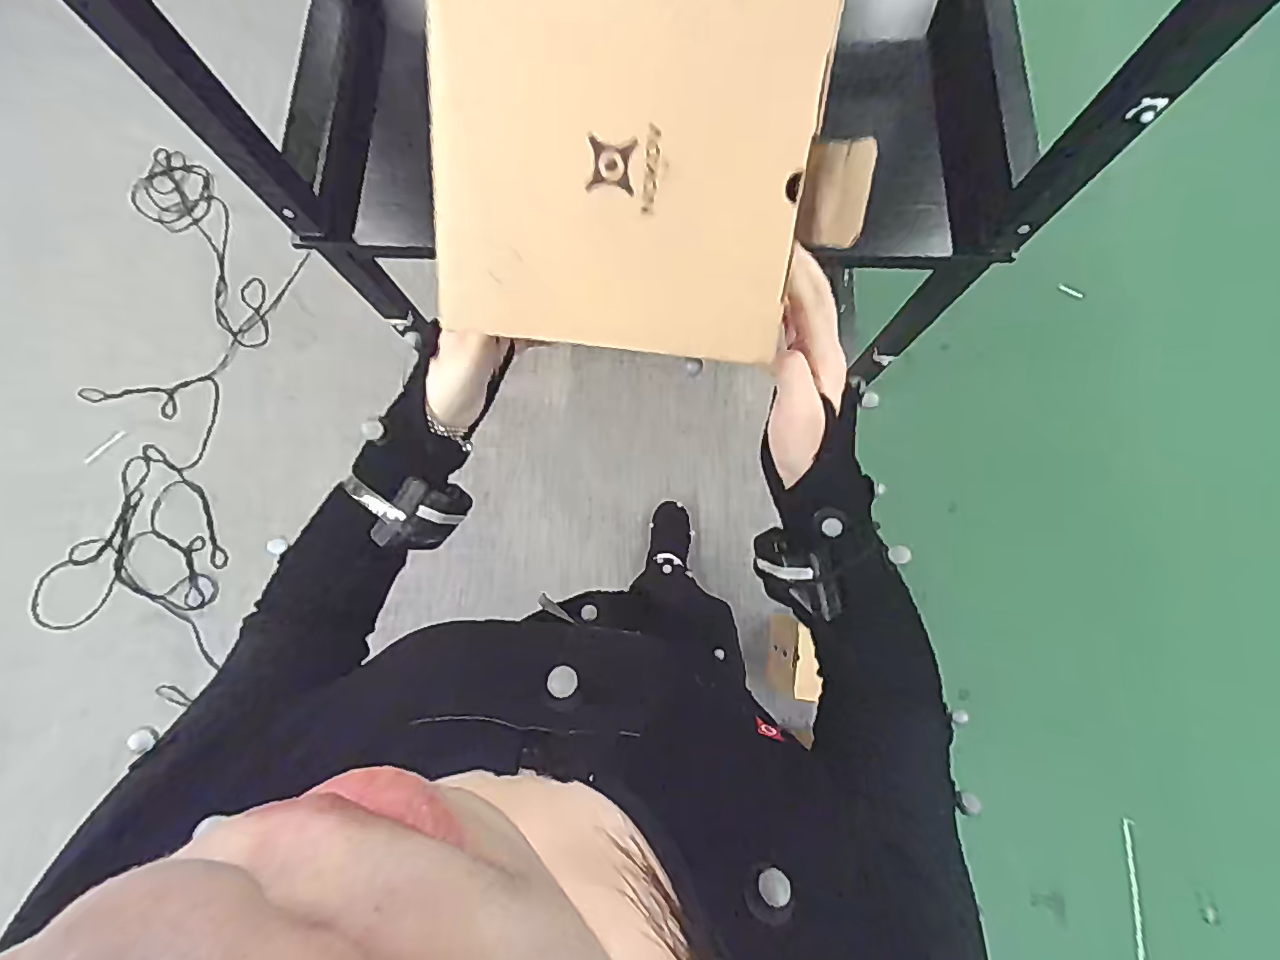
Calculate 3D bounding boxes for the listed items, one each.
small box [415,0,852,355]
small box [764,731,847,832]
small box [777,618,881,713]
[{"bbox_3d":[-0.006,-0.175,0.307,0.179,0.176,0.168,6,113,-1],"label":"small box"},{"bbox_3d":[0.404,0.718,1.309,0.168,0.176,0.179,-5,79,1],"label":"small box"},{"bbox_3d":[0.413,0.406,1.206,0.179,0.176,0.168,9,78,4],"label":"small box"}]
